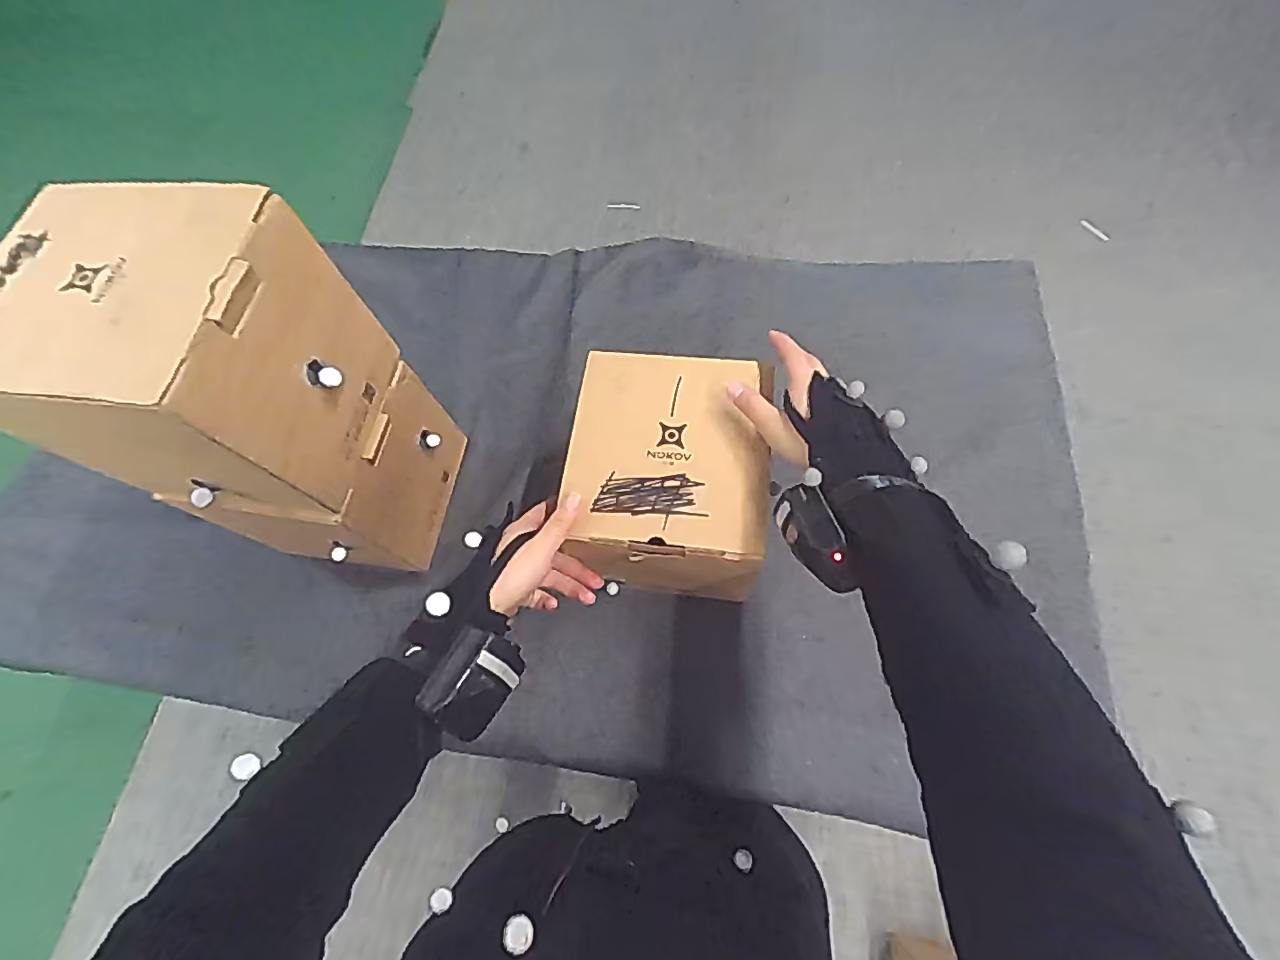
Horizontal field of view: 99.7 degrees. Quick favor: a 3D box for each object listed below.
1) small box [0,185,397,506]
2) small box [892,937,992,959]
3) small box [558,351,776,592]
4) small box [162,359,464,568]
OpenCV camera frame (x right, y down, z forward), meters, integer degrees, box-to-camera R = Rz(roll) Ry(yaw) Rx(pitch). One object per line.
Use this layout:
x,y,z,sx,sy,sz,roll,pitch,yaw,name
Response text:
-0.317,-0.088,0.407,0.179,0.176,0.168,5,66,6,small box
0.532,0.890,0.884,0.179,0.176,0.168,7,67,8,small box
0.033,0.001,0.517,0.168,0.176,0.179,5,67,7,small box
-0.305,-0.015,0.553,0.179,0.176,0.168,6,66,8,small box
